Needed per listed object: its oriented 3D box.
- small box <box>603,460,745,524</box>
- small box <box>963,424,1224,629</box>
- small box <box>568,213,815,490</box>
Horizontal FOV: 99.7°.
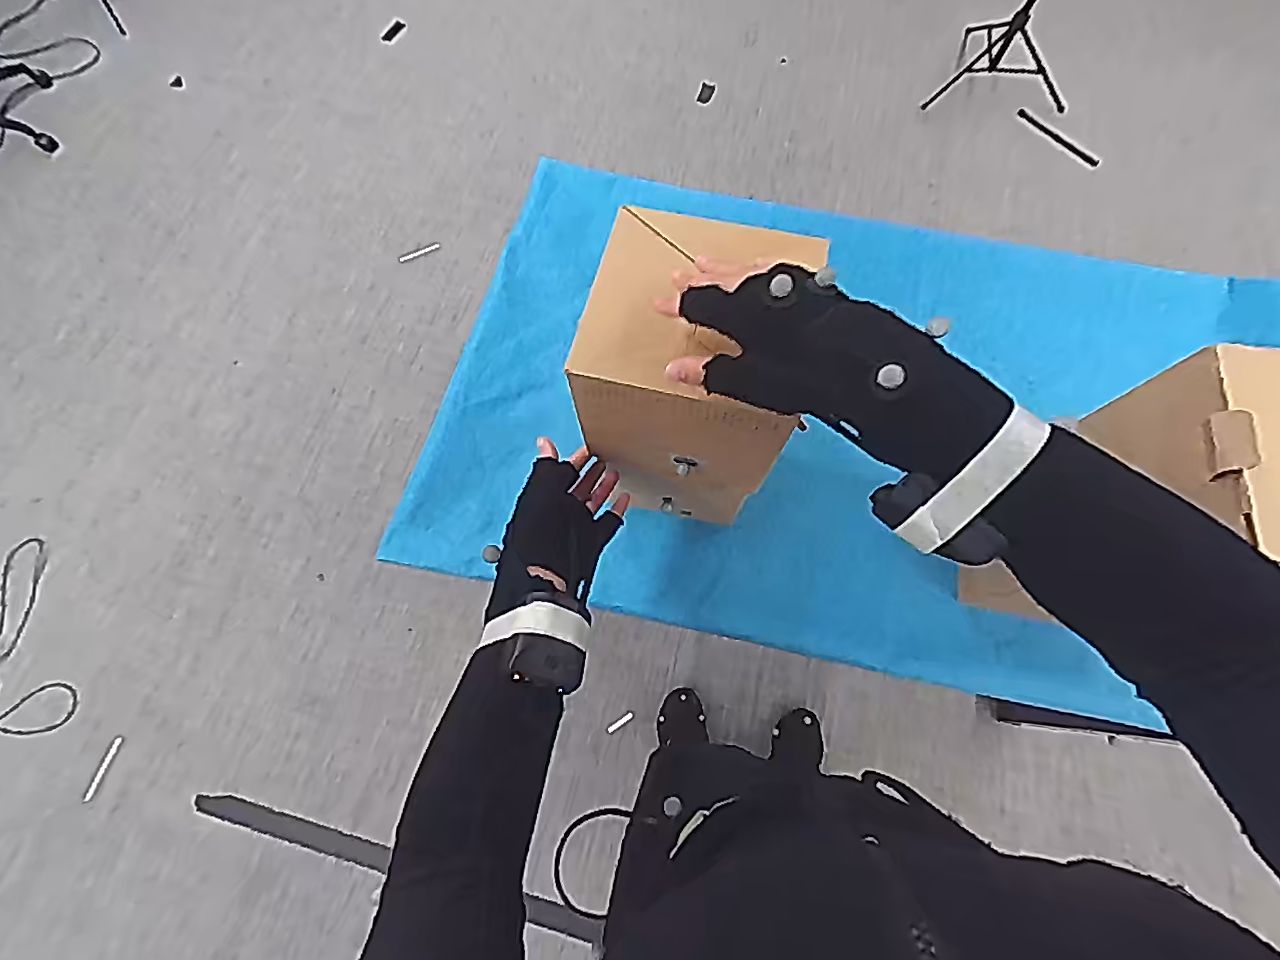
[{"bbox_3d":[0.054,-0.063,0.650,0.168,0.176,0.179,14,73,8],"label":"small box"},{"bbox_3d":[0.482,0.061,0.590,0.179,0.176,0.168,12,72,6],"label":"small box"},{"bbox_3d":[0.049,-0.107,0.489,0.179,0.176,0.168,13,72,6],"label":"small box"}]
